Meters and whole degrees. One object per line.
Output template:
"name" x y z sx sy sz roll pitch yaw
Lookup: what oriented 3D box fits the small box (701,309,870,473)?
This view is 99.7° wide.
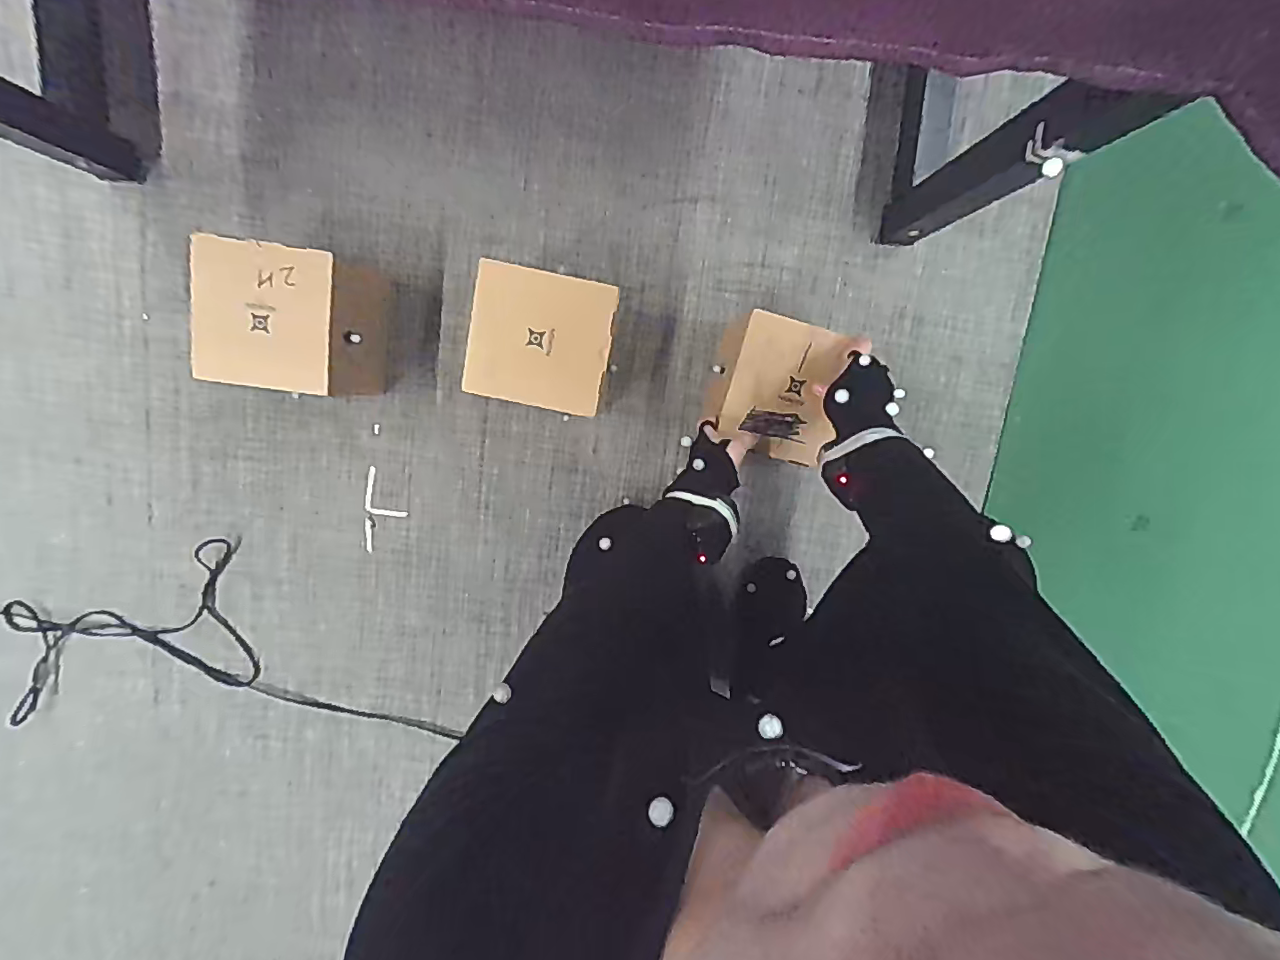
"small box" 0.192 -0.125 0.776 0.168 0.176 0.179 15 98 -4
